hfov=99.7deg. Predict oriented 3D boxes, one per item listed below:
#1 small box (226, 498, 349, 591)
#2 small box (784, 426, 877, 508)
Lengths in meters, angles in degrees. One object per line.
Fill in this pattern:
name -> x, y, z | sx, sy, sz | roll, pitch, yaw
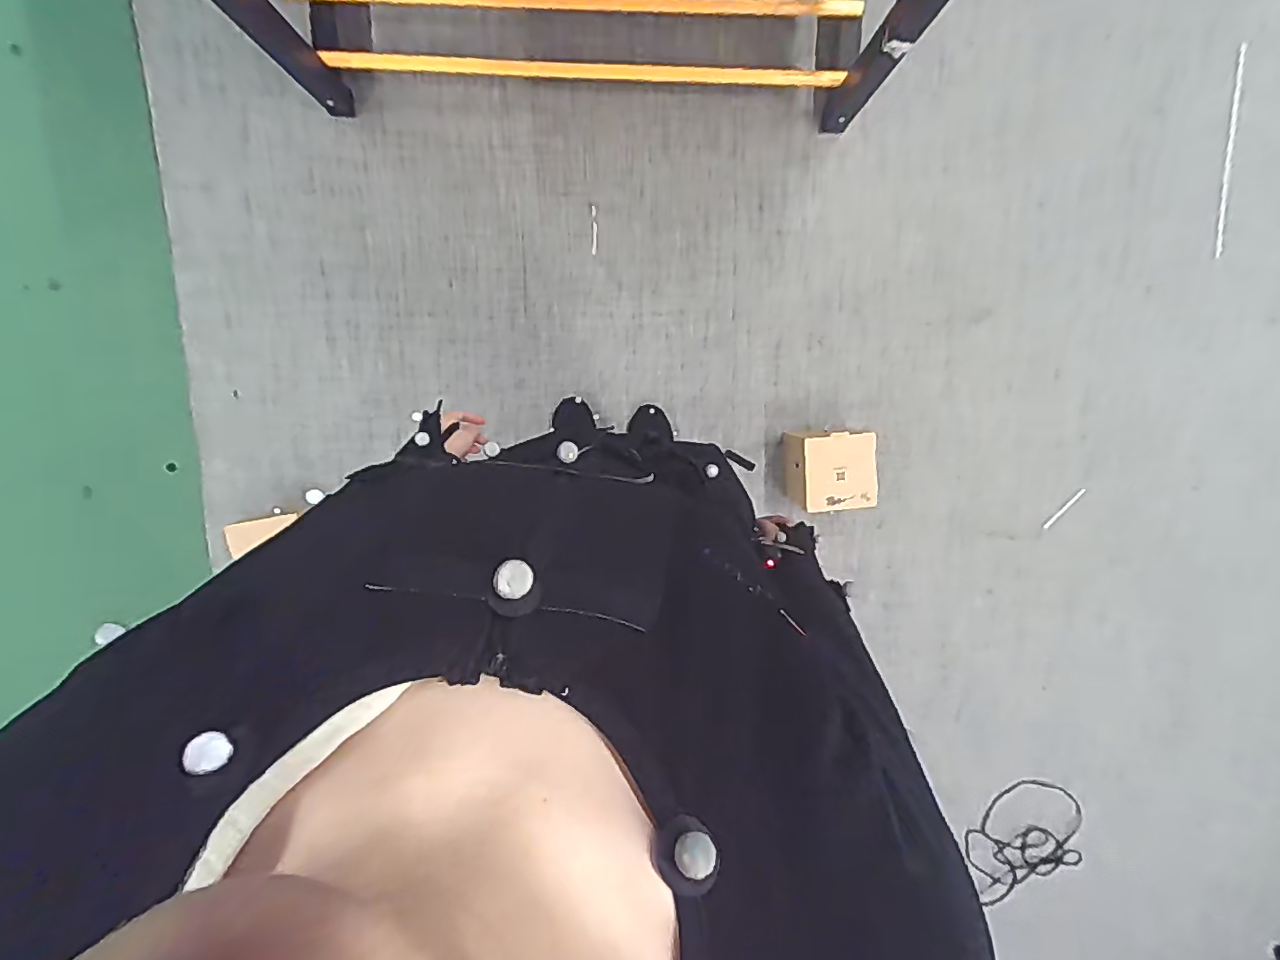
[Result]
small box -> -0.828, 0.147, 1.296 | 0.179, 0.176, 0.168 | -10, 99, 1
small box -> 0.452, -0.038, 1.301 | 0.168, 0.176, 0.179 | -5, 98, -1
